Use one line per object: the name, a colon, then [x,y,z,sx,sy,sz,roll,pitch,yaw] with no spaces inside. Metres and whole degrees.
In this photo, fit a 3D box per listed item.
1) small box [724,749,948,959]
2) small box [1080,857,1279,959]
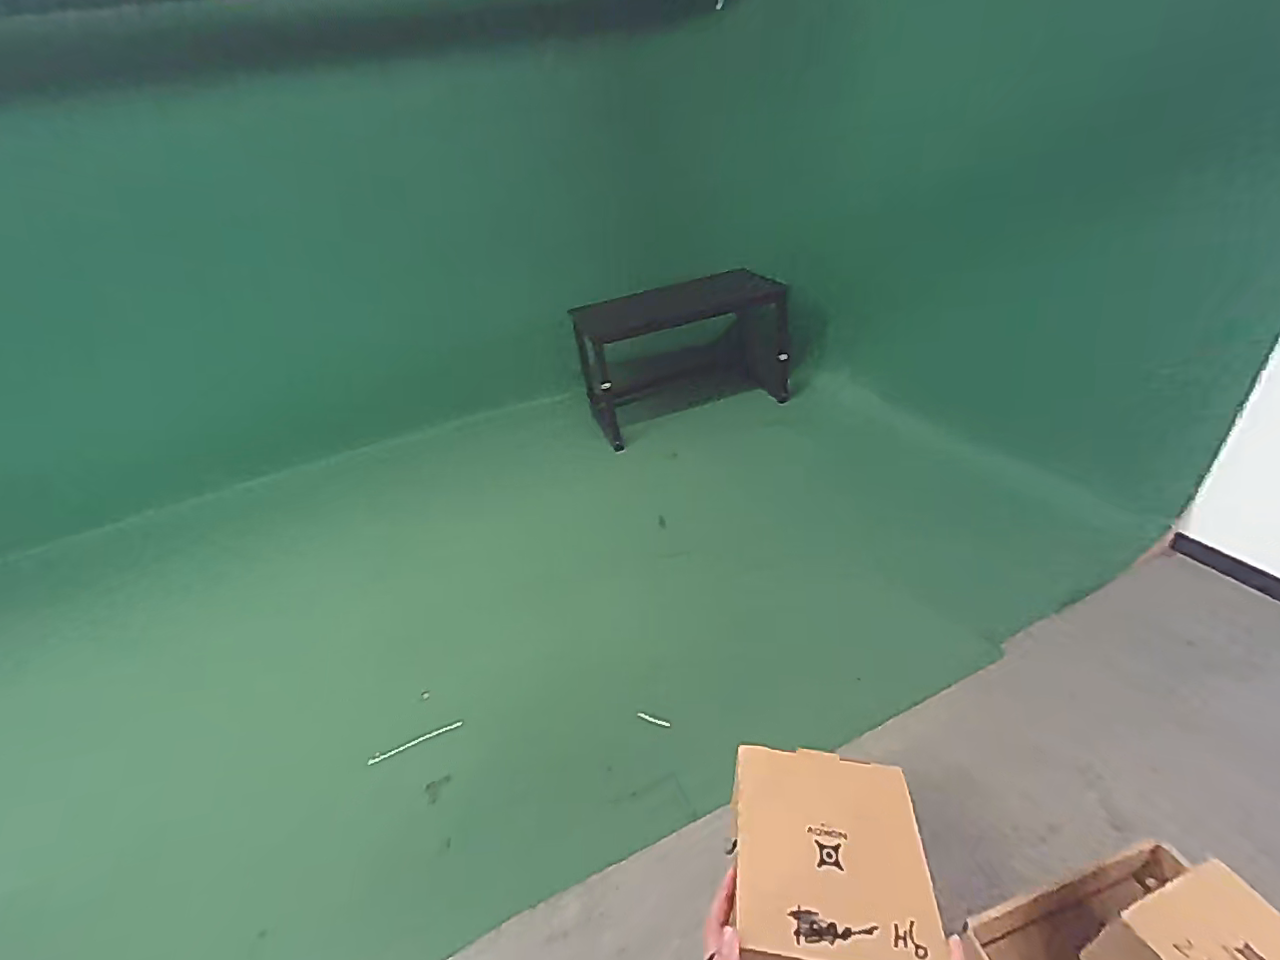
small box: [0.171,0.404,0.531,0.168,0.176,0.179,4,33,8]
small box: [0.733,0.644,0.706,0.179,0.176,0.168,-17,36,-12]
